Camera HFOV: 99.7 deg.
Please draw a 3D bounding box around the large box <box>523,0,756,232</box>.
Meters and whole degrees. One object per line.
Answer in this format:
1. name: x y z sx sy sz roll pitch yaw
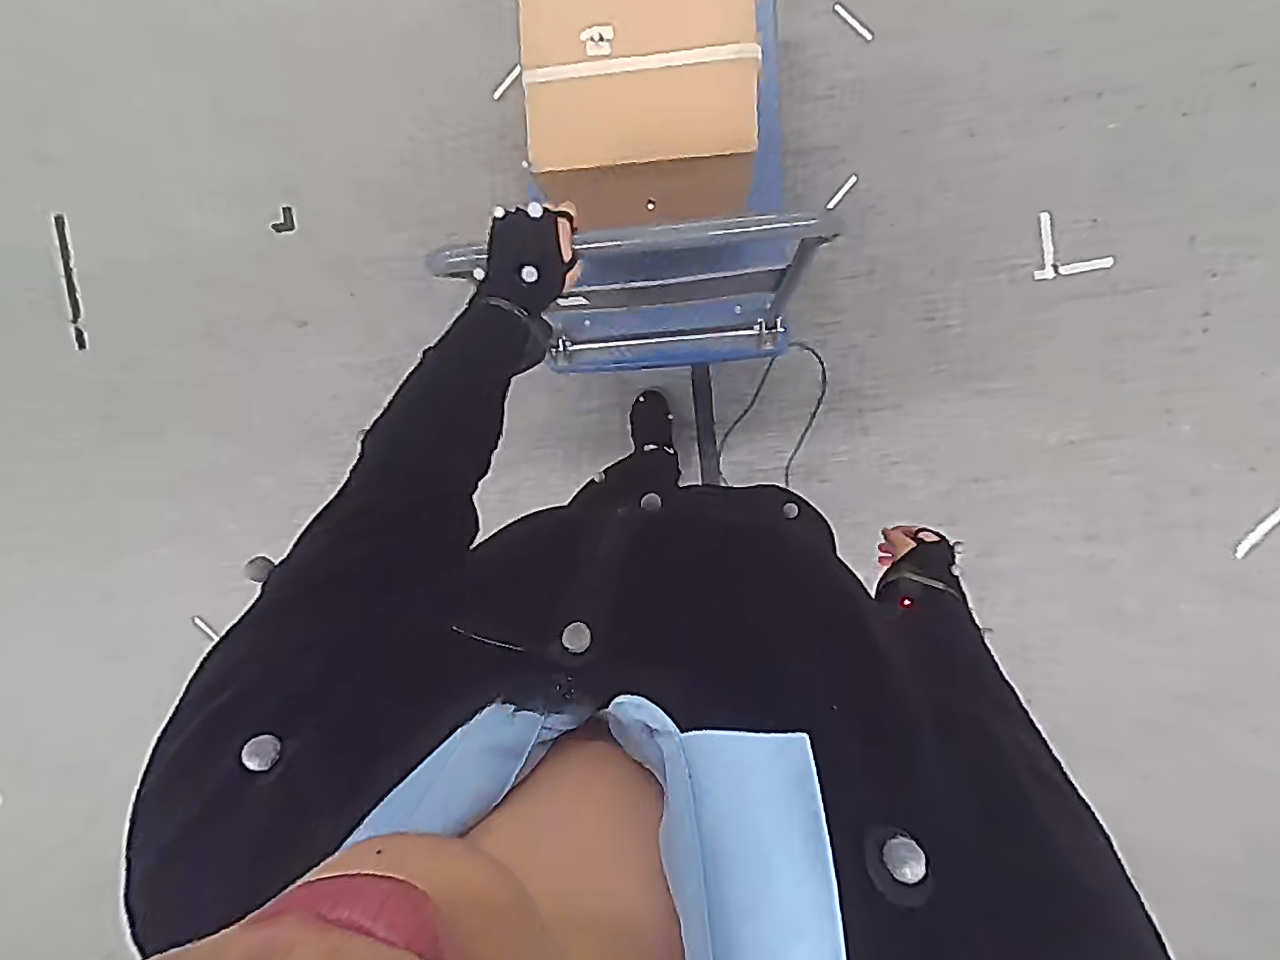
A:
1. large box: 0.017 -0.726 1.091 0.408 0.320 0.320 -2 95 8
